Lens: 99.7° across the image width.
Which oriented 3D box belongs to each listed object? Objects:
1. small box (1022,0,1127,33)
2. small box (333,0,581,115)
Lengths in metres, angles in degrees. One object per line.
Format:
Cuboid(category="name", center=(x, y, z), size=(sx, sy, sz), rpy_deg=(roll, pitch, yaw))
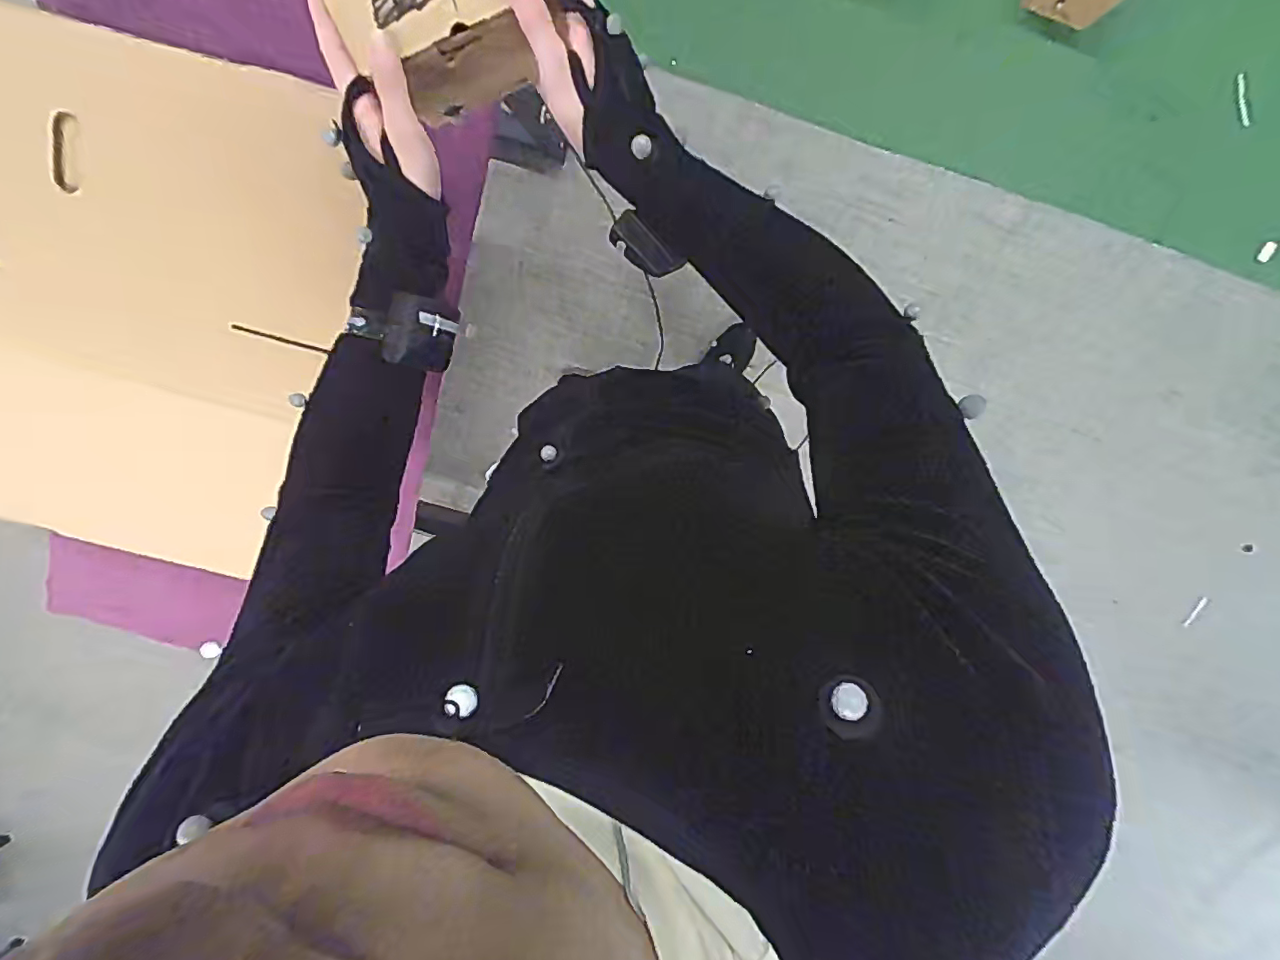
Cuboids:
Cuboid(category="small box", center=(0.991, -1.141, 1.180), size=(0.168, 0.176, 0.179), rpy_deg=(20, 106, -3))
Cuboid(category="small box", center=(-0.155, -0.425, 0.434), size=(0.168, 0.176, 0.179), rpy_deg=(-20, 111, 5))
